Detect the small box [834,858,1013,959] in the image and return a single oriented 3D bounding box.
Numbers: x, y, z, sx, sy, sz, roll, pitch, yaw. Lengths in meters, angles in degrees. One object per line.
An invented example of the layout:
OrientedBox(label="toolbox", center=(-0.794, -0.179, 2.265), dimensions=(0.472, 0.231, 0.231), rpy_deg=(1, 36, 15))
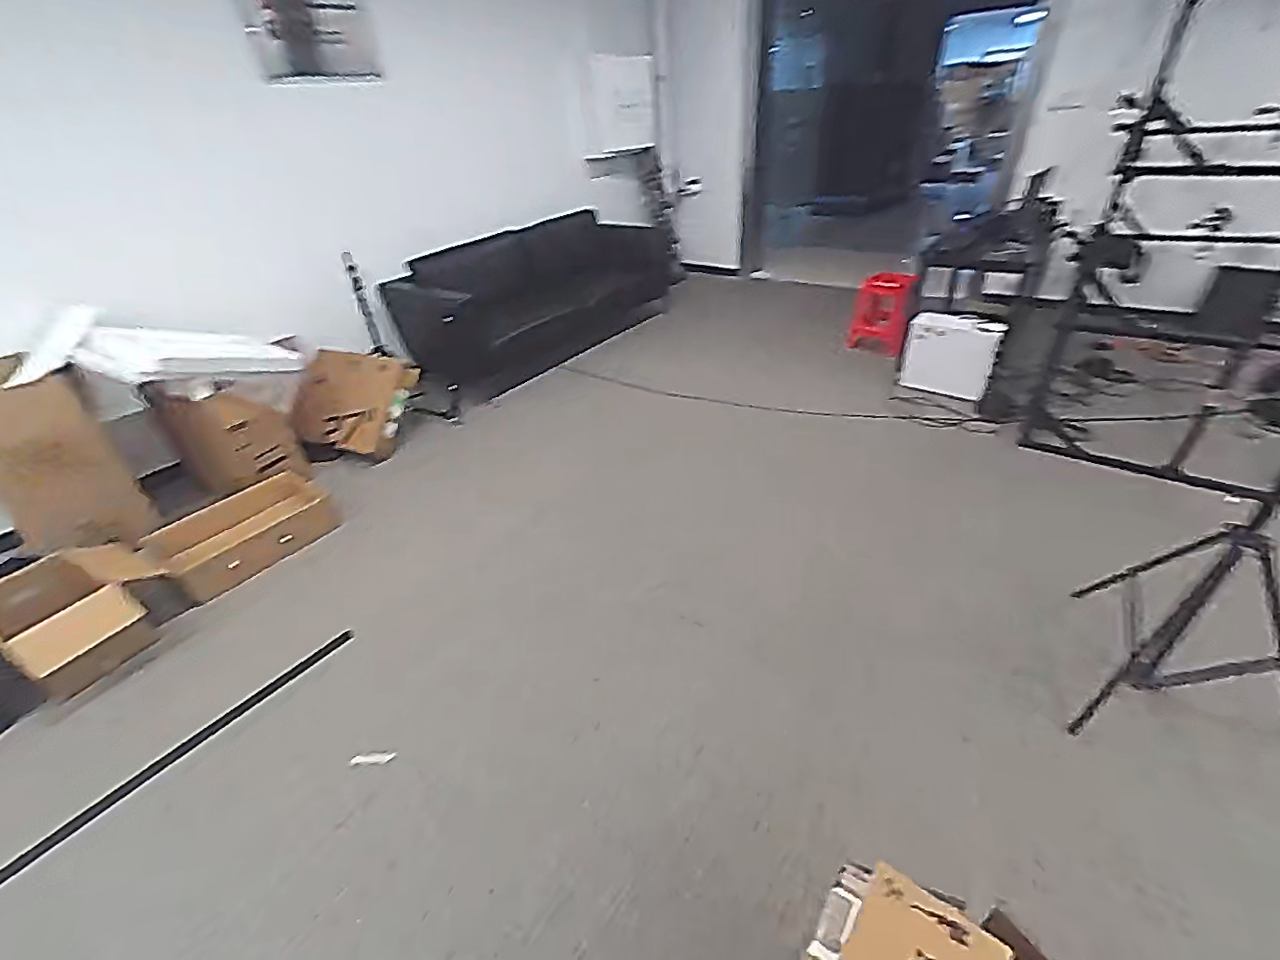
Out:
OrientedBox(label="small box", center=(0.351, 0.658, 0.702), dimensions=(0.168, 0.176, 0.179), rpy_deg=(21, 45, 35))
